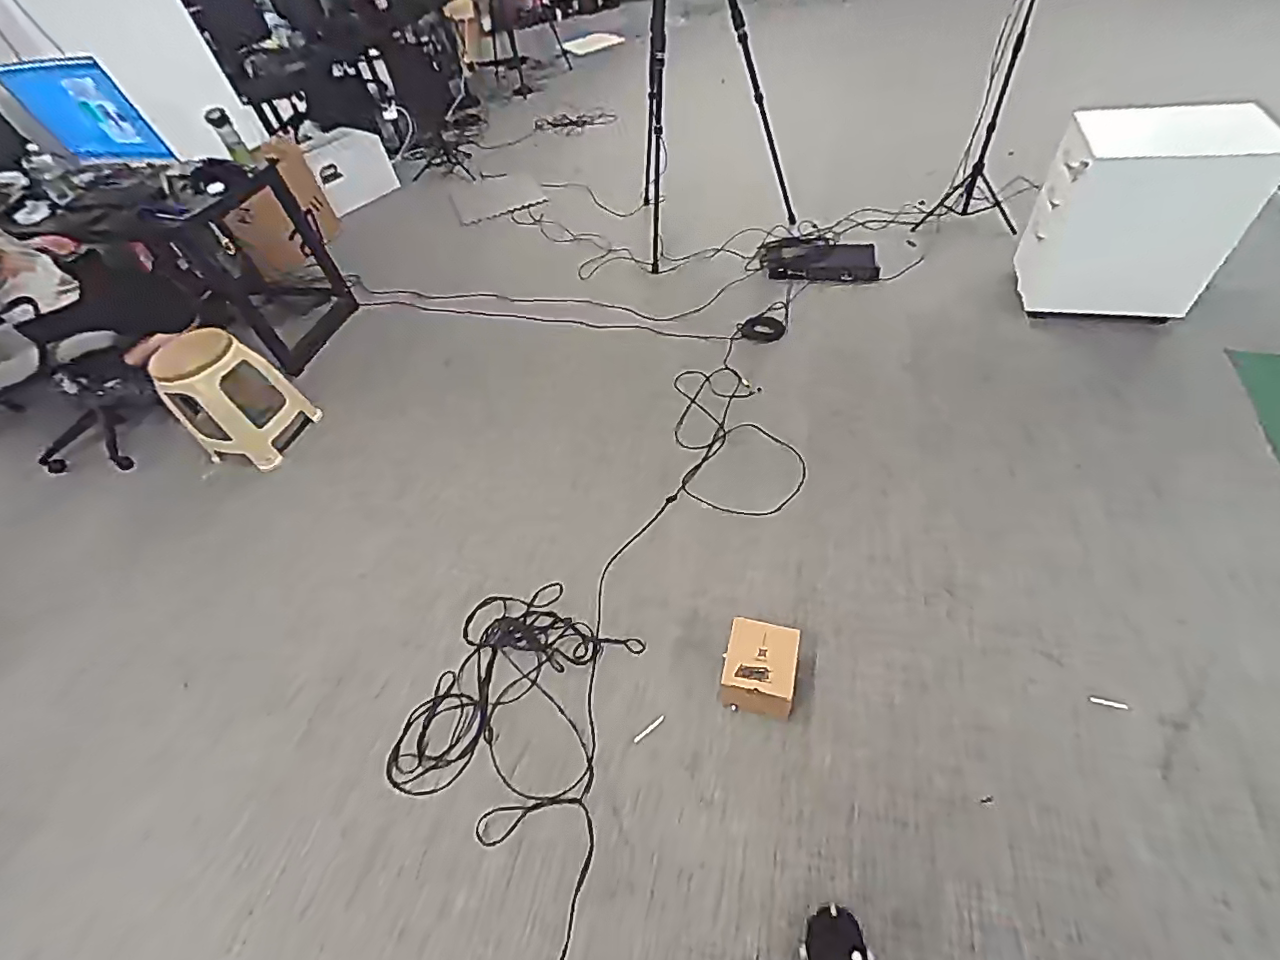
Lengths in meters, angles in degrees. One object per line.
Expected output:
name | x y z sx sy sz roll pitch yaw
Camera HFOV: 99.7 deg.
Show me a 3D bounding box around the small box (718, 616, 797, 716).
small box | 0.298 0.473 1.365 0.168 0.176 0.179 9 52 16
